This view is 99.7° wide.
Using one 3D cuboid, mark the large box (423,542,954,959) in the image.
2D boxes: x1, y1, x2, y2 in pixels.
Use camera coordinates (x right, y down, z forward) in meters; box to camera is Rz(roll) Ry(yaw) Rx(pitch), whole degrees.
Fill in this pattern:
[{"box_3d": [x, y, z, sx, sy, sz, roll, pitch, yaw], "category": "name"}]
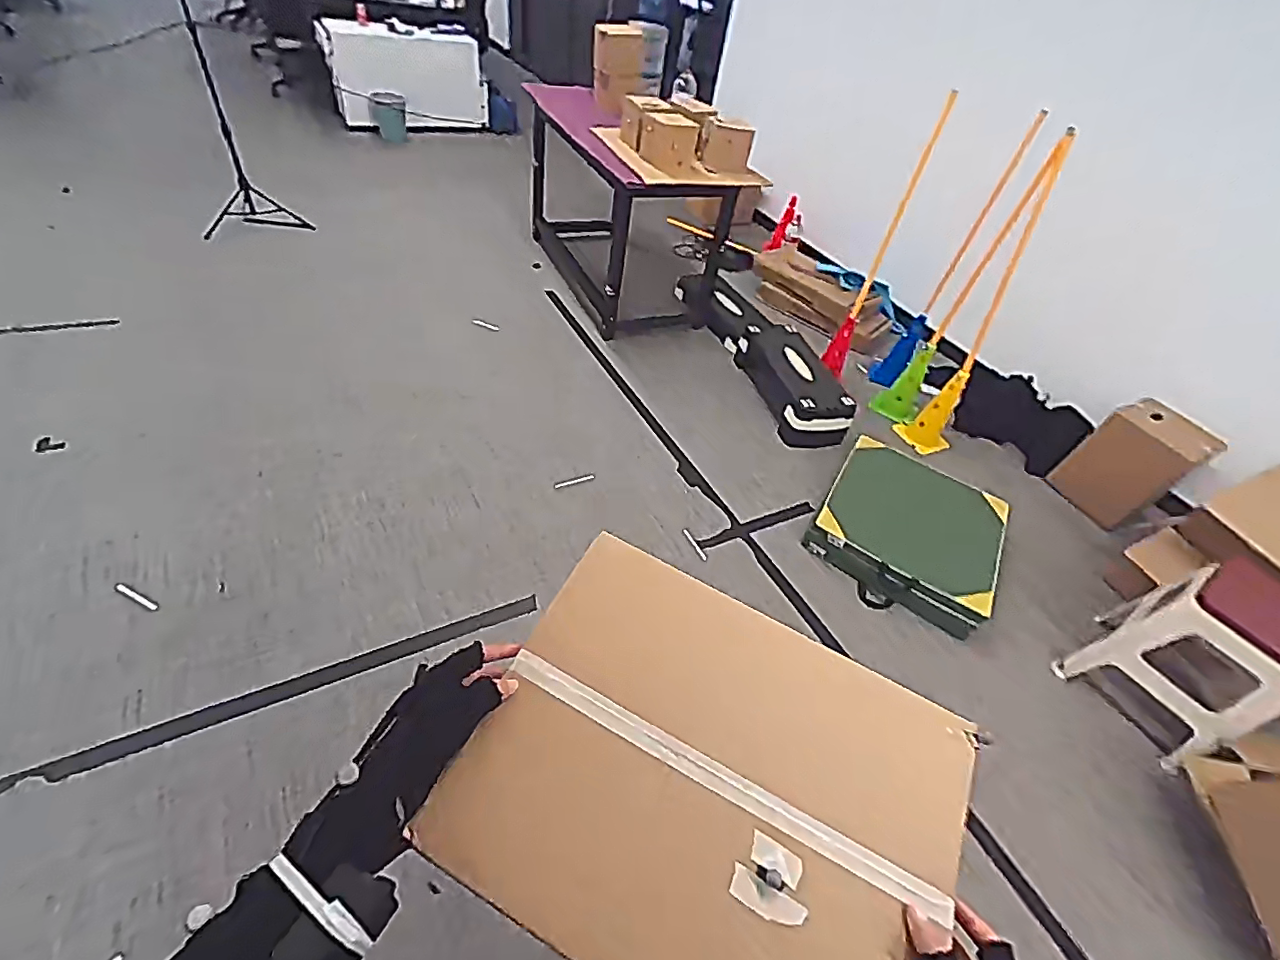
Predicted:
[{"box_3d": [0.048, 0.338, 0.603, 0.408, 0.320, 0.320, 26, 58, 10], "category": "large box"}]
